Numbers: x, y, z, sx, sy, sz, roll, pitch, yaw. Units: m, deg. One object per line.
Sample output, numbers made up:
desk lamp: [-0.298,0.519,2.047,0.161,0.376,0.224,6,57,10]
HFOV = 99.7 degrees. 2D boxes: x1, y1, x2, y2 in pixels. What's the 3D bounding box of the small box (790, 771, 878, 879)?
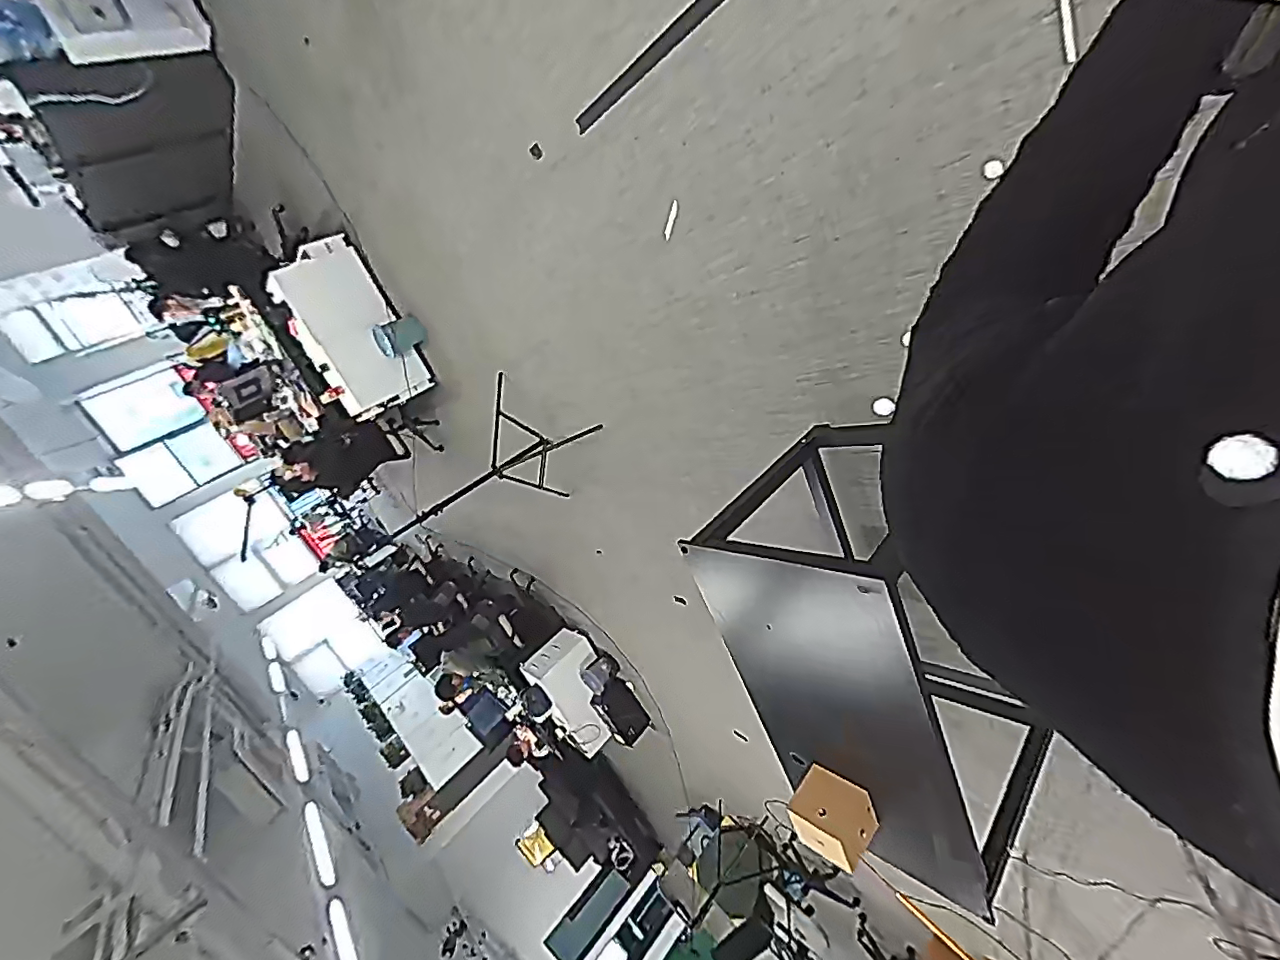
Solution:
small box: [0.574,0.996,1.578,0.179,0.176,0.168,6,126,51]
